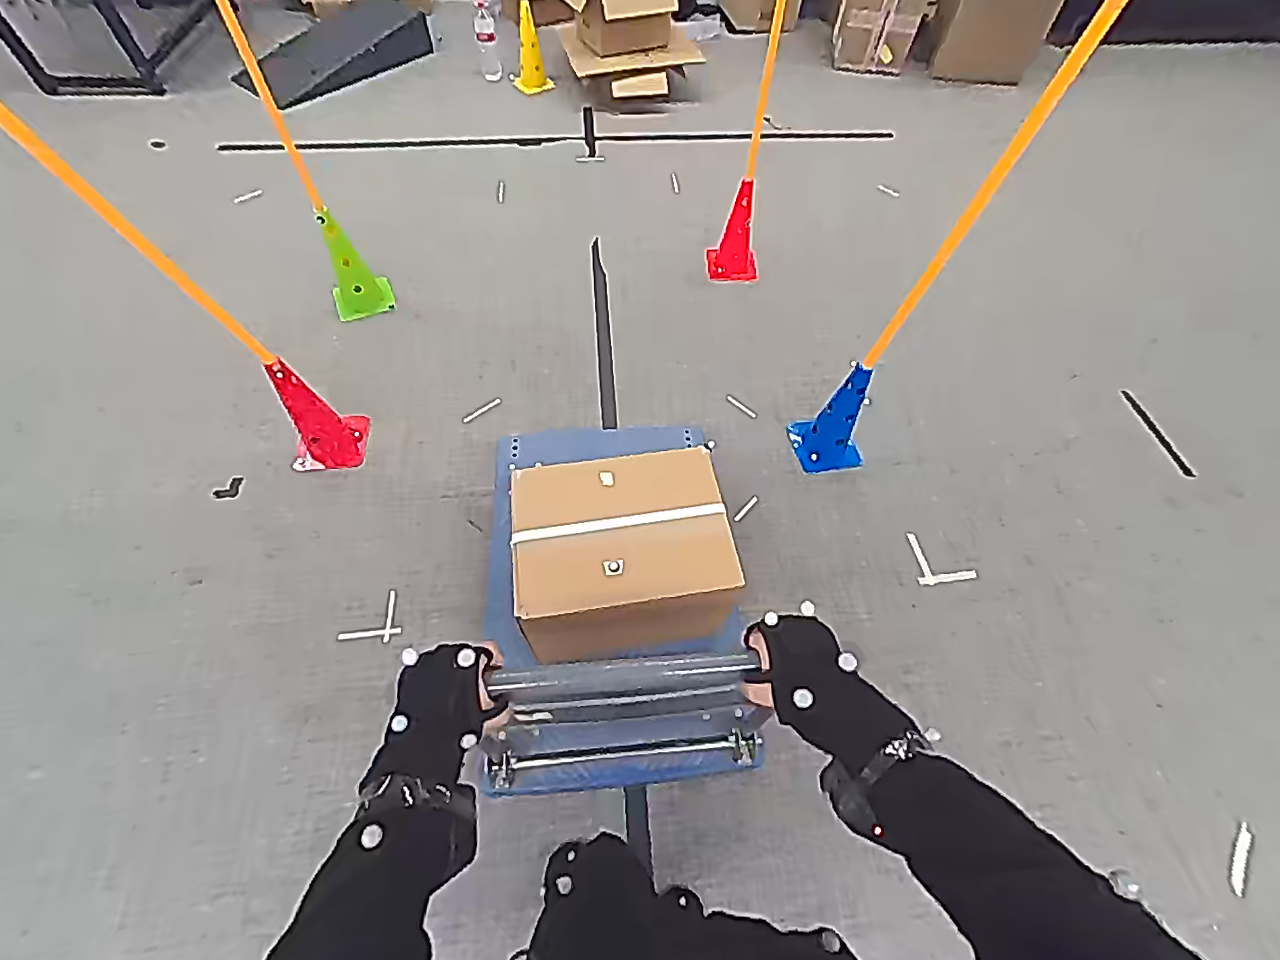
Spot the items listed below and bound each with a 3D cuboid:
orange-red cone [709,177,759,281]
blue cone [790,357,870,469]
[{"bbox_3d":[0.389,-0.970,2.058,0.199,0.360,0.198,3,58,-2],"label":"orange-red cone"},{"bbox_3d":[0.601,-0.208,1.606,0.193,0.380,0.192,-7,57,-7],"label":"blue cone"}]
